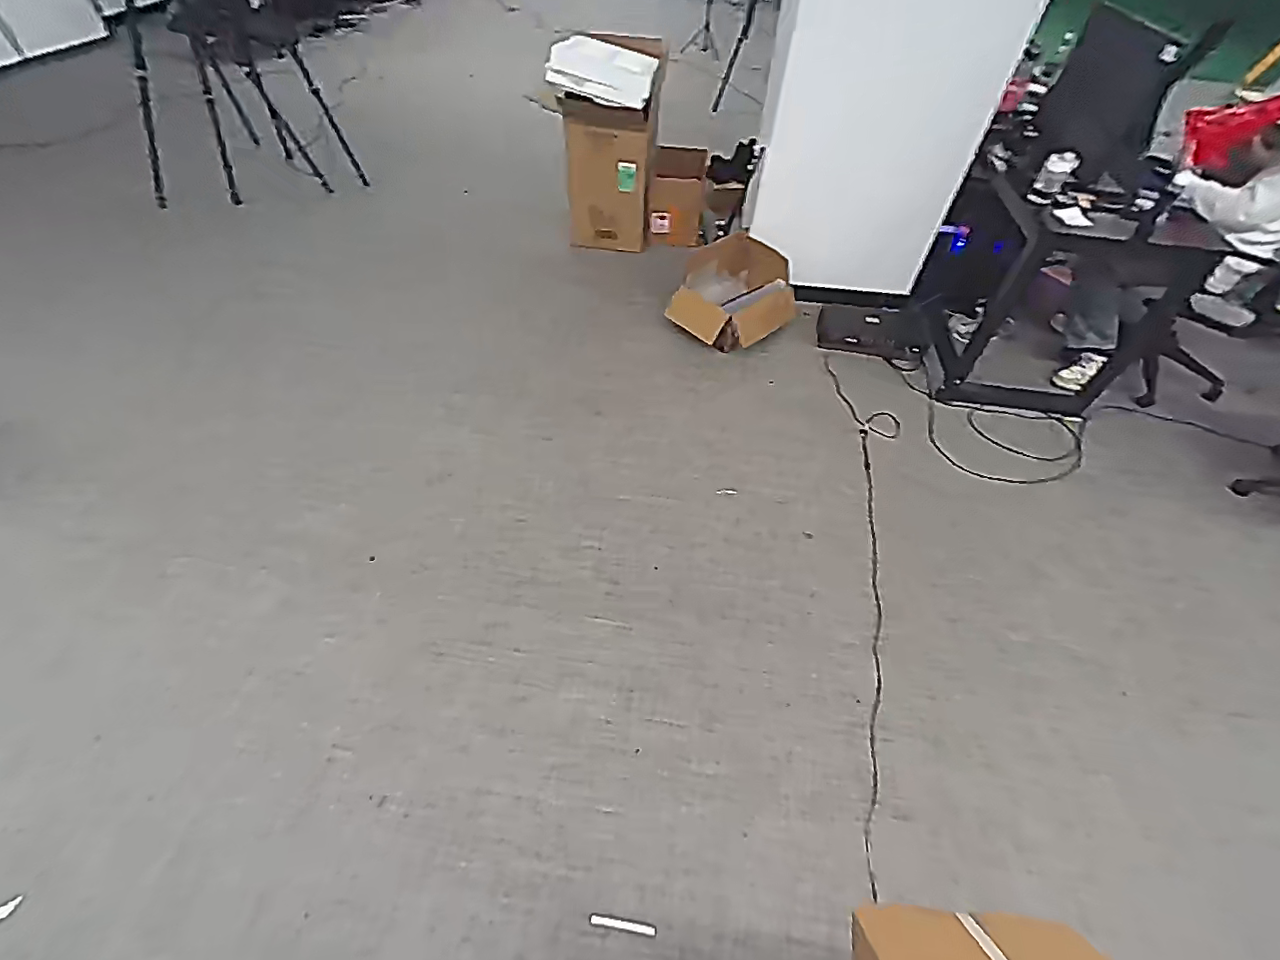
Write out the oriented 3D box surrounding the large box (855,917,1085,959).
[{"bbox_3d":[0.444,0.771,0.571,0.320,0.408,0.320,3,80,4],"label":"large box"}]
